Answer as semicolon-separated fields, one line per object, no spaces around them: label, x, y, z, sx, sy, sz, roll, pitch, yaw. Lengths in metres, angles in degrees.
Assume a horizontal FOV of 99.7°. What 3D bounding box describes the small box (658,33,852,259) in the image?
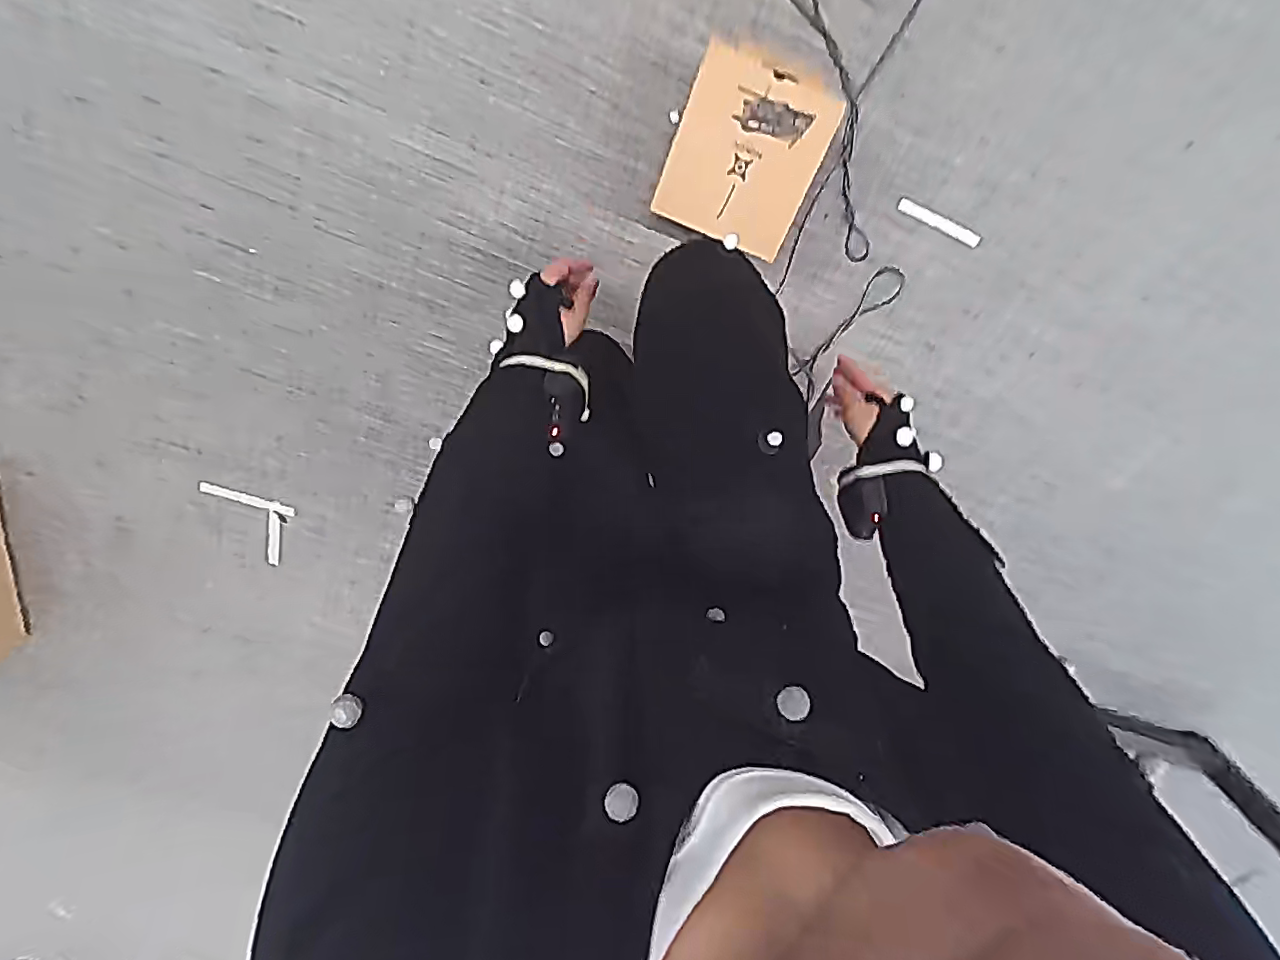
small box;0.126;-0.404;0.679;0.168;0.176;0.179;20;117;-9
